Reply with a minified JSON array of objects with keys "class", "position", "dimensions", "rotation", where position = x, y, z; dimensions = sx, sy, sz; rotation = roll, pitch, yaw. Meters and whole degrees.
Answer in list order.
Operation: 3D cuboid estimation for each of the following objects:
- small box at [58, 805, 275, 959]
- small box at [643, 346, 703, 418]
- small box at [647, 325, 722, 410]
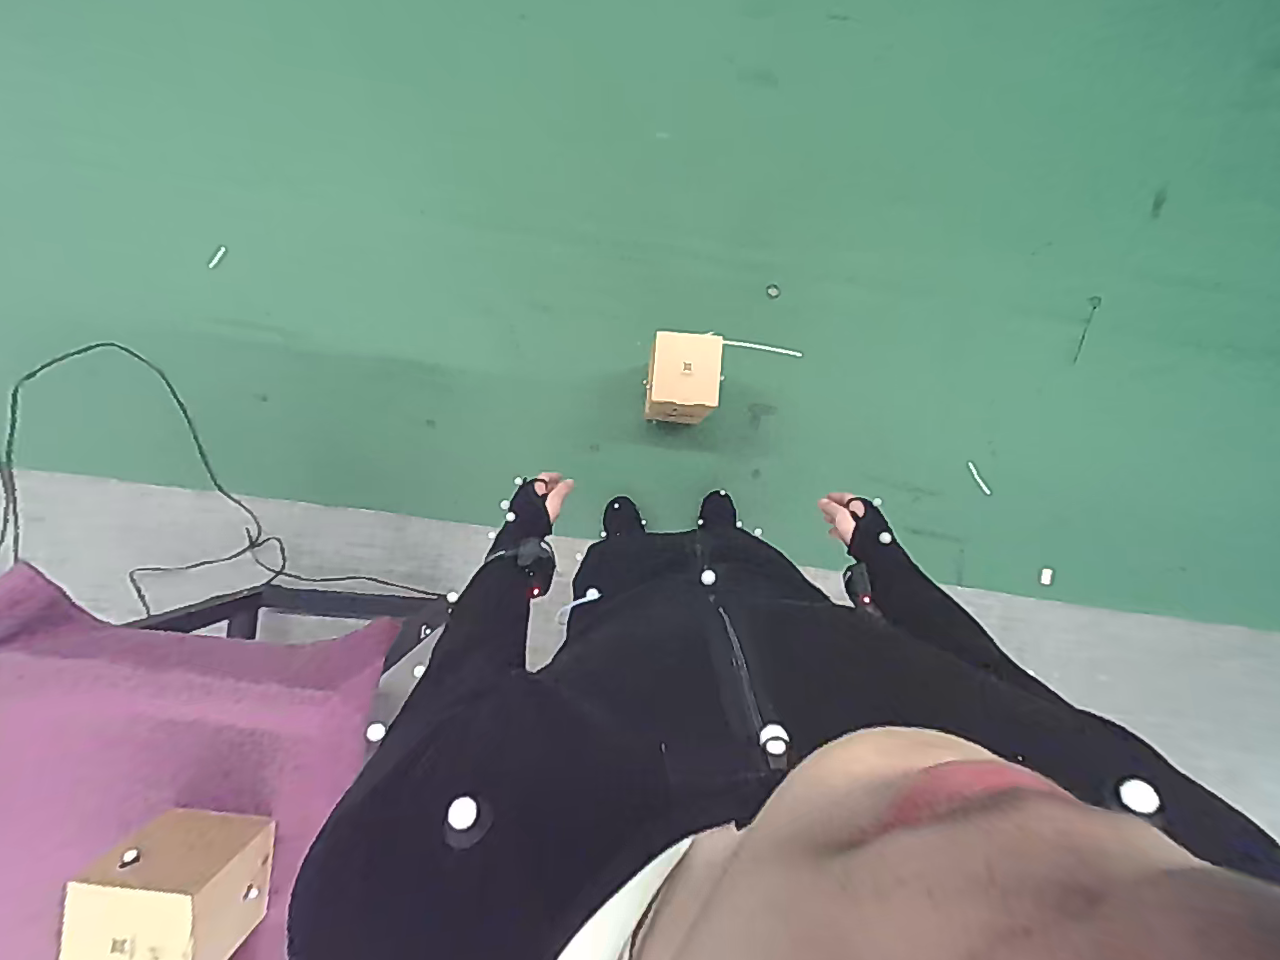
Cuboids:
[{"class":"small box","position":[-0.693,0.618,0.806],"dimensions":[0.179,0.176,0.168],"rotation":[7,91,-1]},{"class":"small box","position":[0.099,-0.276,1.555],"dimensions":[0.168,0.176,0.179],"rotation":[5,89,-2]},{"class":"small box","position":[0.109,-0.283,1.393],"dimensions":[0.168,0.176,0.179],"rotation":[4,91,-2]}]
